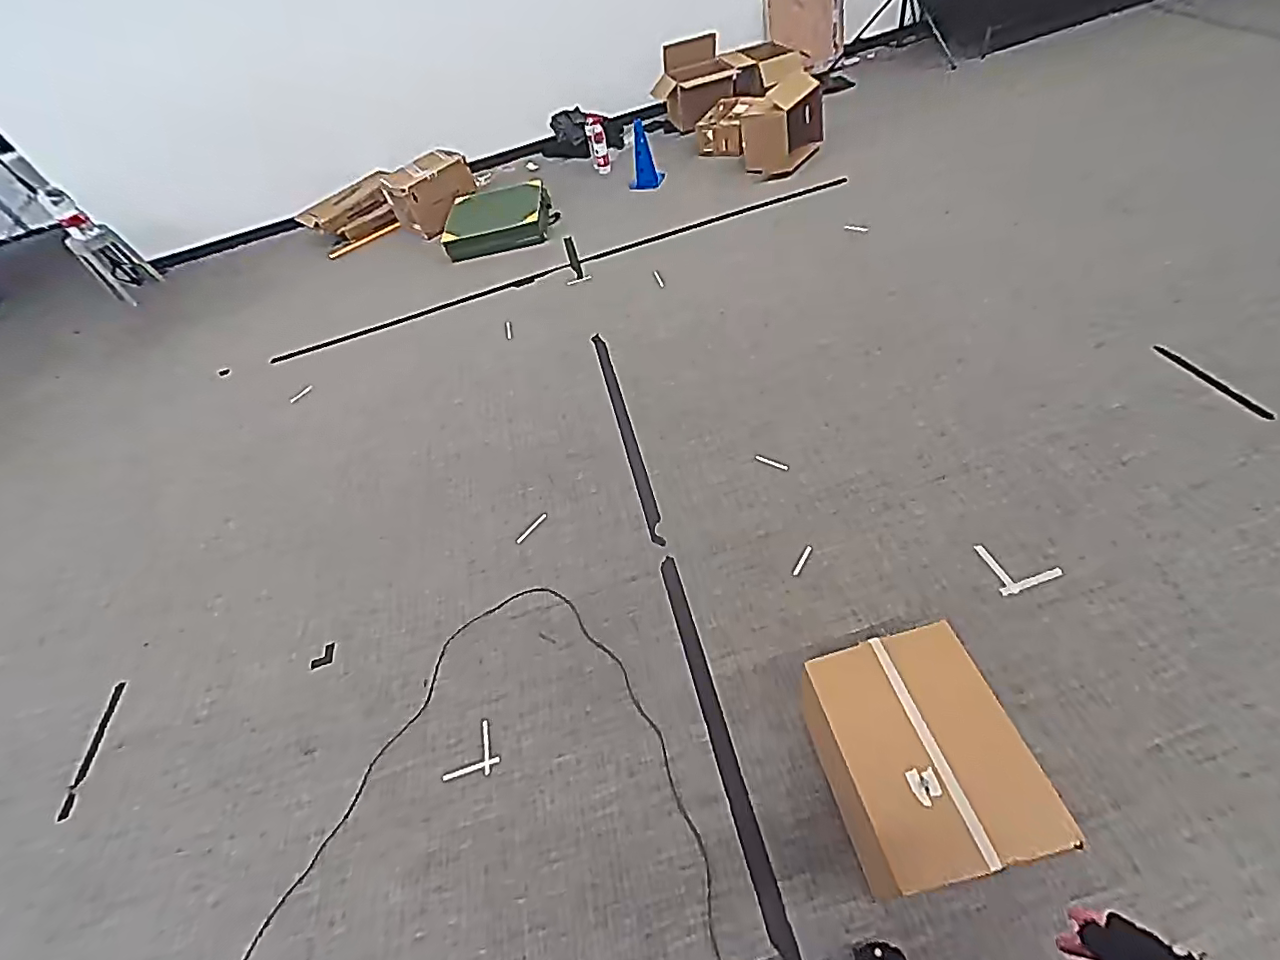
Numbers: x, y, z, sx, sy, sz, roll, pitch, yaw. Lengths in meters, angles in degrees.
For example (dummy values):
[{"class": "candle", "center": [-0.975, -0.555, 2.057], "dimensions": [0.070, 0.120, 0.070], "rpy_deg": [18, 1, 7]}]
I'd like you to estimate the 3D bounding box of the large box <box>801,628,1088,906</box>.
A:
[{"class": "large box", "center": [0.563, 0.585, 1.112], "dimensions": [0.320, 0.320, 0.408], "rpy_deg": [-18, 49, 1]}]
